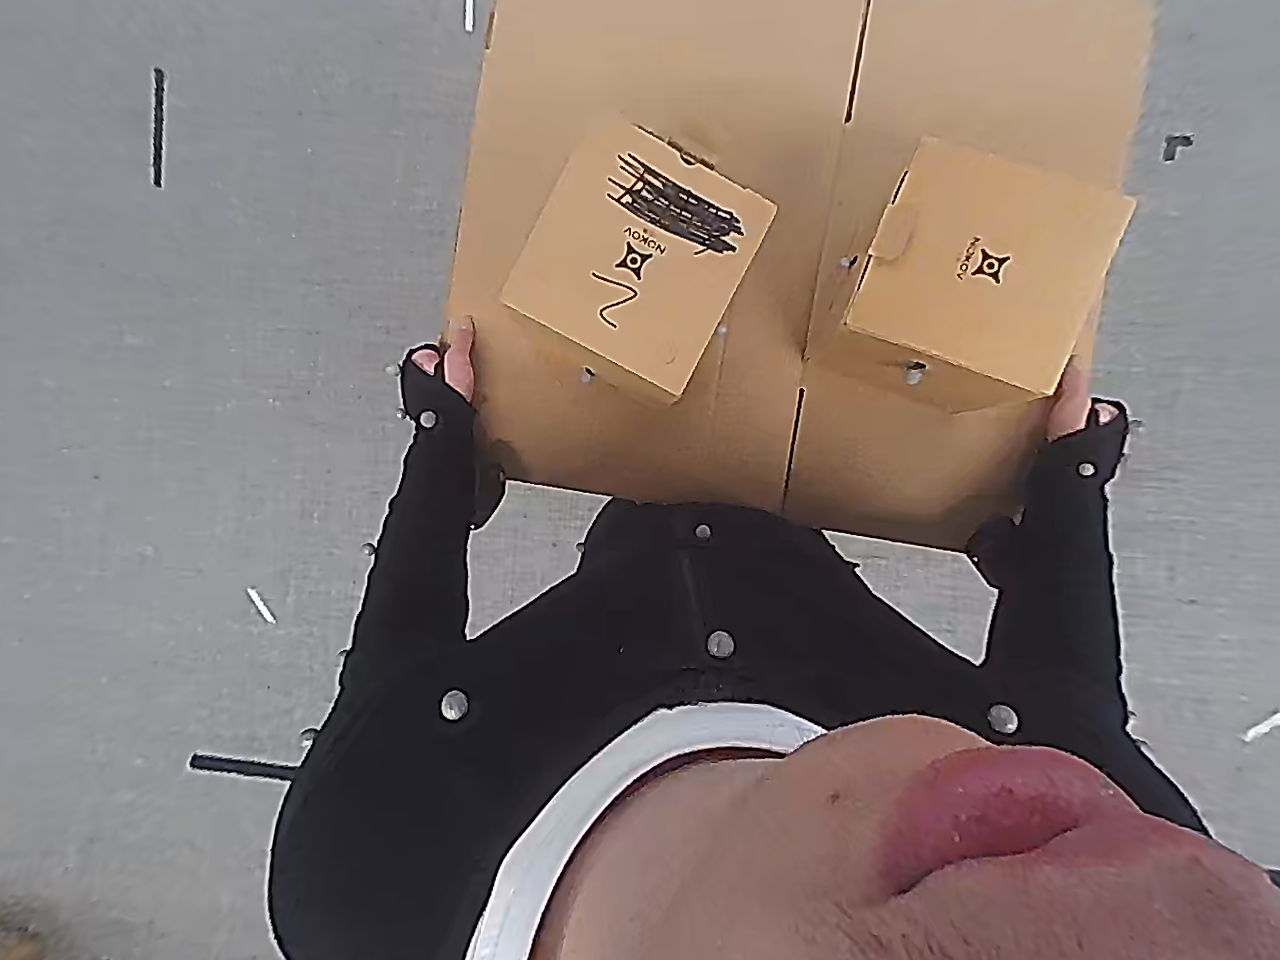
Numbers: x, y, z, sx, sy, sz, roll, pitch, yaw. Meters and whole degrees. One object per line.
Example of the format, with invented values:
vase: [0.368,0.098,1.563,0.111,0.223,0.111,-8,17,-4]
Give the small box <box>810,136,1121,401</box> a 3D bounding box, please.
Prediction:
small box: [0.289,-0.184,0.527,0.179,0.176,0.168,22,94,7]
